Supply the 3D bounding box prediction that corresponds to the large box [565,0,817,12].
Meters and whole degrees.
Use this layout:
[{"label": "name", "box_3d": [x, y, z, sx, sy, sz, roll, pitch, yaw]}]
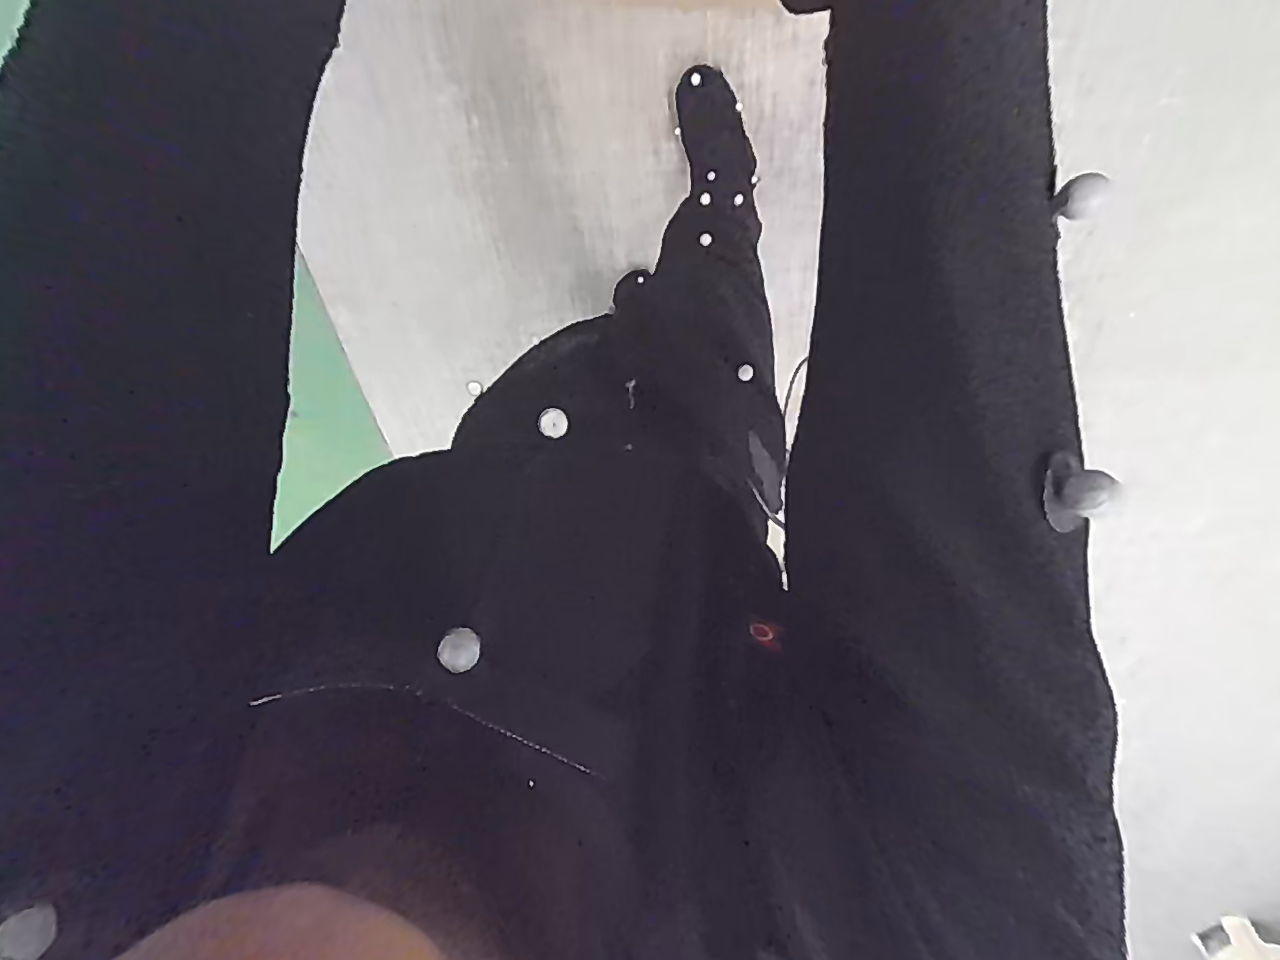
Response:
[{"label": "large box", "box_3d": [0.070, -0.831, 0.704, 0.408, 0.320, 0.320, 6, 127, 6]}]
